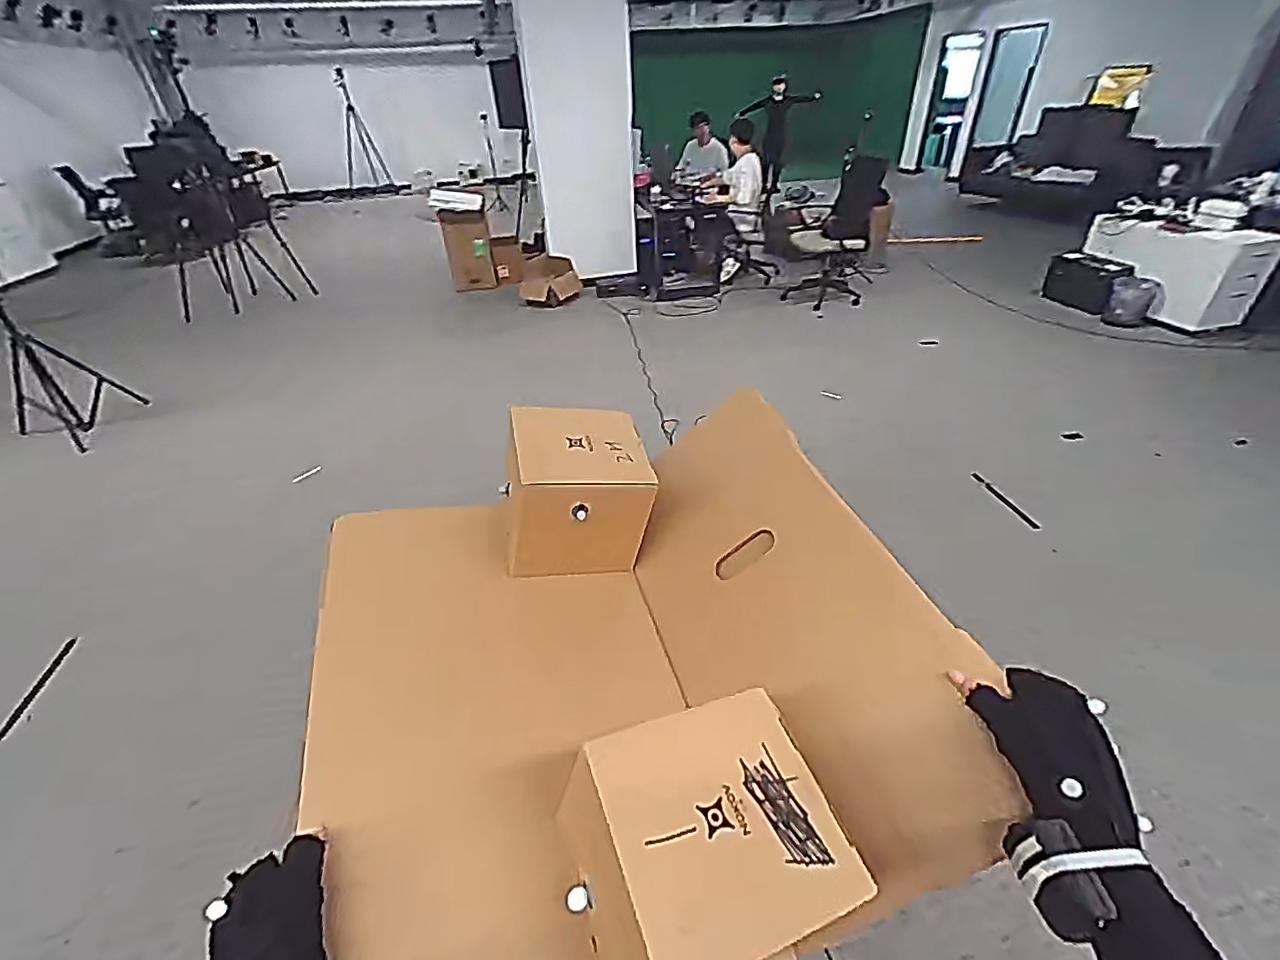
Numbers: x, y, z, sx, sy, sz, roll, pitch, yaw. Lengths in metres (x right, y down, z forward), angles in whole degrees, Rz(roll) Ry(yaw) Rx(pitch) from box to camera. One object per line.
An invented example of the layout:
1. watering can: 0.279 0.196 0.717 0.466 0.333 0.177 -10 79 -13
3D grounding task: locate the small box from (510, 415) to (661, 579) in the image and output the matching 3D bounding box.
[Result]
1. small box: -0.089 0.026 0.764 0.179 0.176 0.168 1 40 -19
